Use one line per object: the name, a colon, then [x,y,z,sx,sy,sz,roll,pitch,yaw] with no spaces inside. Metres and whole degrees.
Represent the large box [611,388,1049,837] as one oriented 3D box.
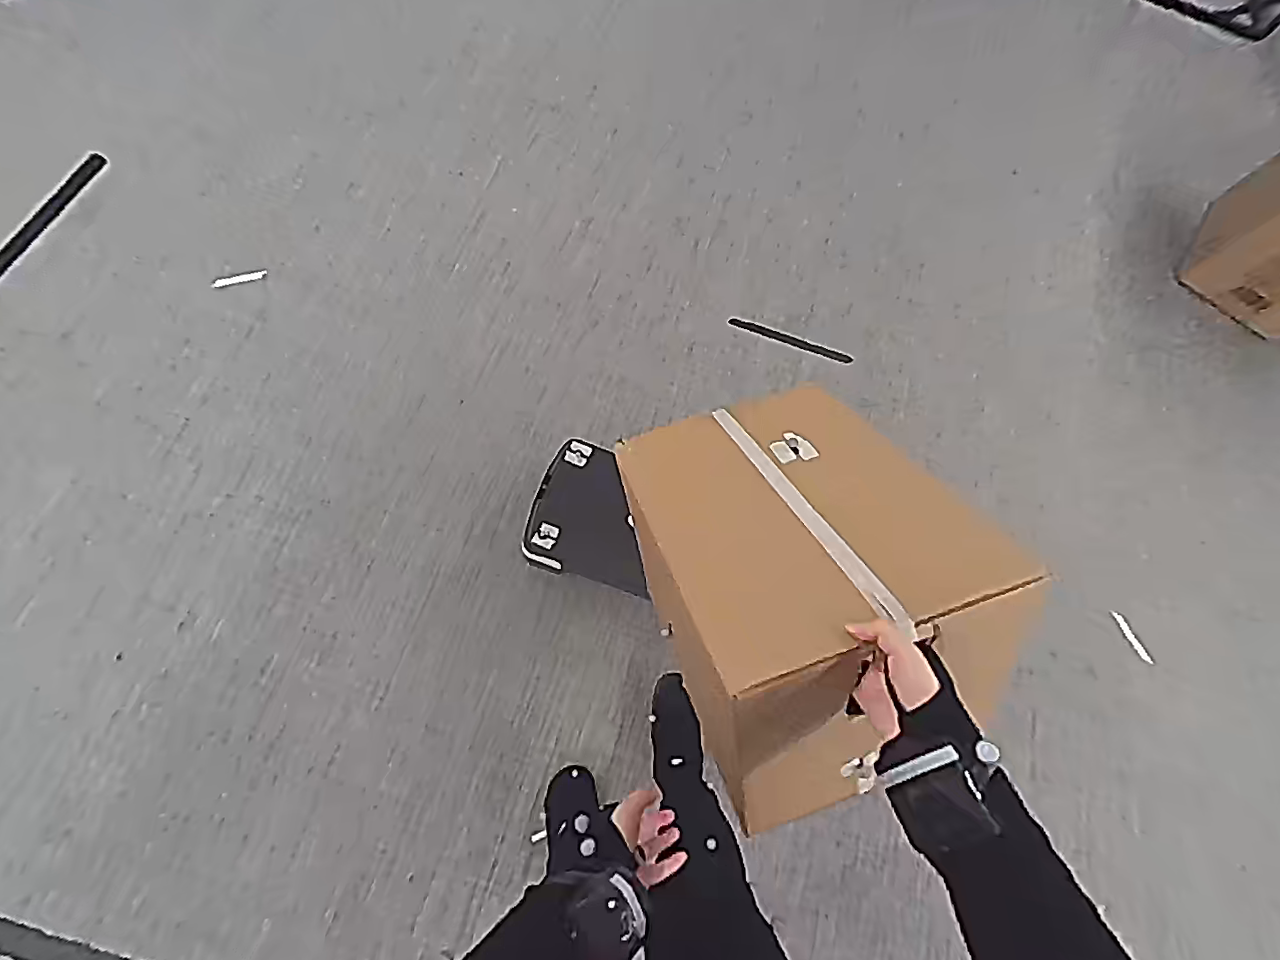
large box: [0.191,0.139,0.697,0.320,0.320,0.408,-19,37,-8]
